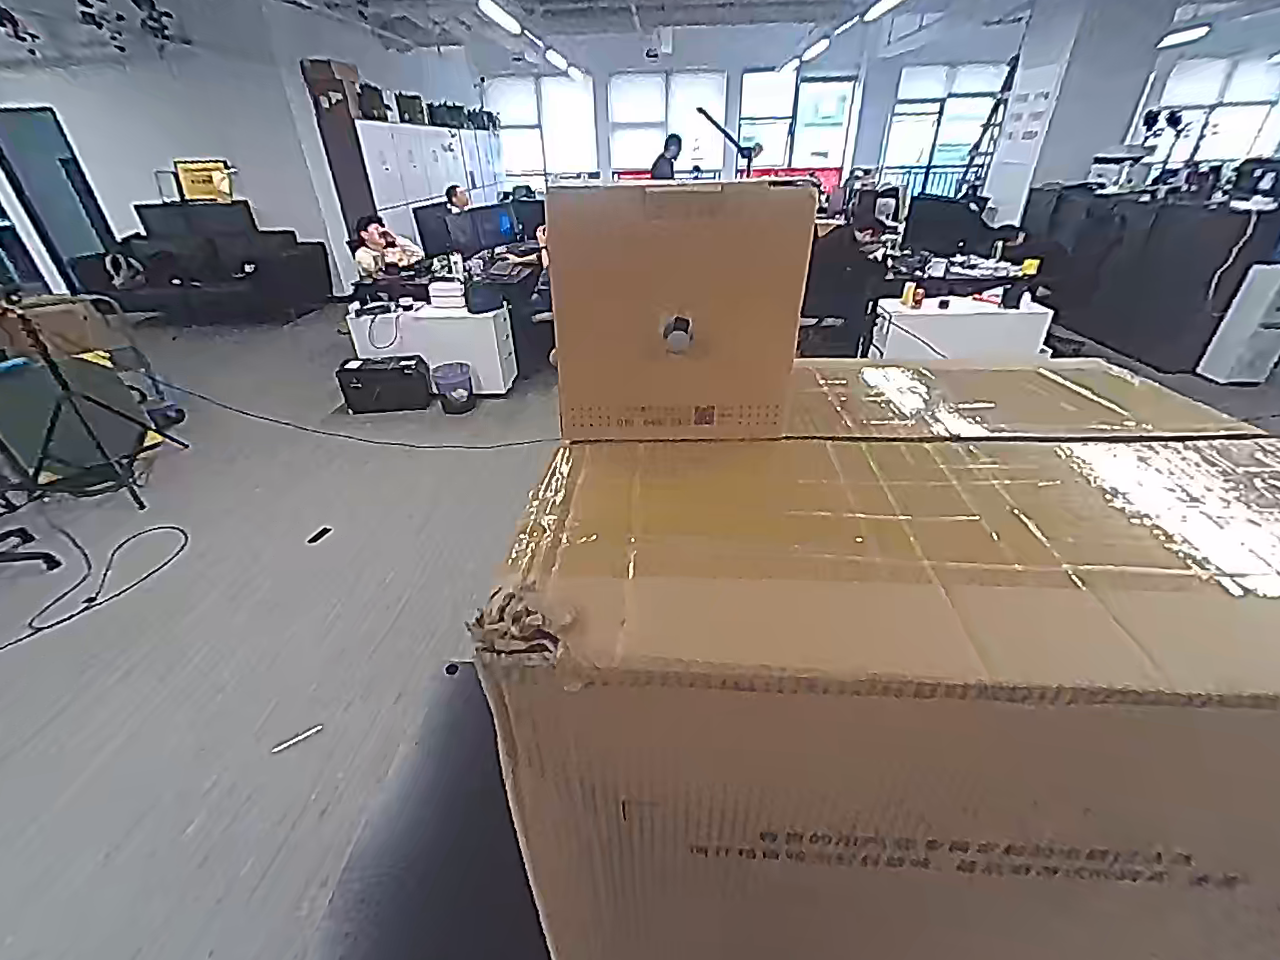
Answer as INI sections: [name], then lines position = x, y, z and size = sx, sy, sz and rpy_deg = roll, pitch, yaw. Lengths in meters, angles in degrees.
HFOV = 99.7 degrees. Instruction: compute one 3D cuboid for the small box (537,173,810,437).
[small box]
position = 0.022, -0.140, 0.427
size = 0.168, 0.176, 0.179
rpy_deg = -1, 30, -1
